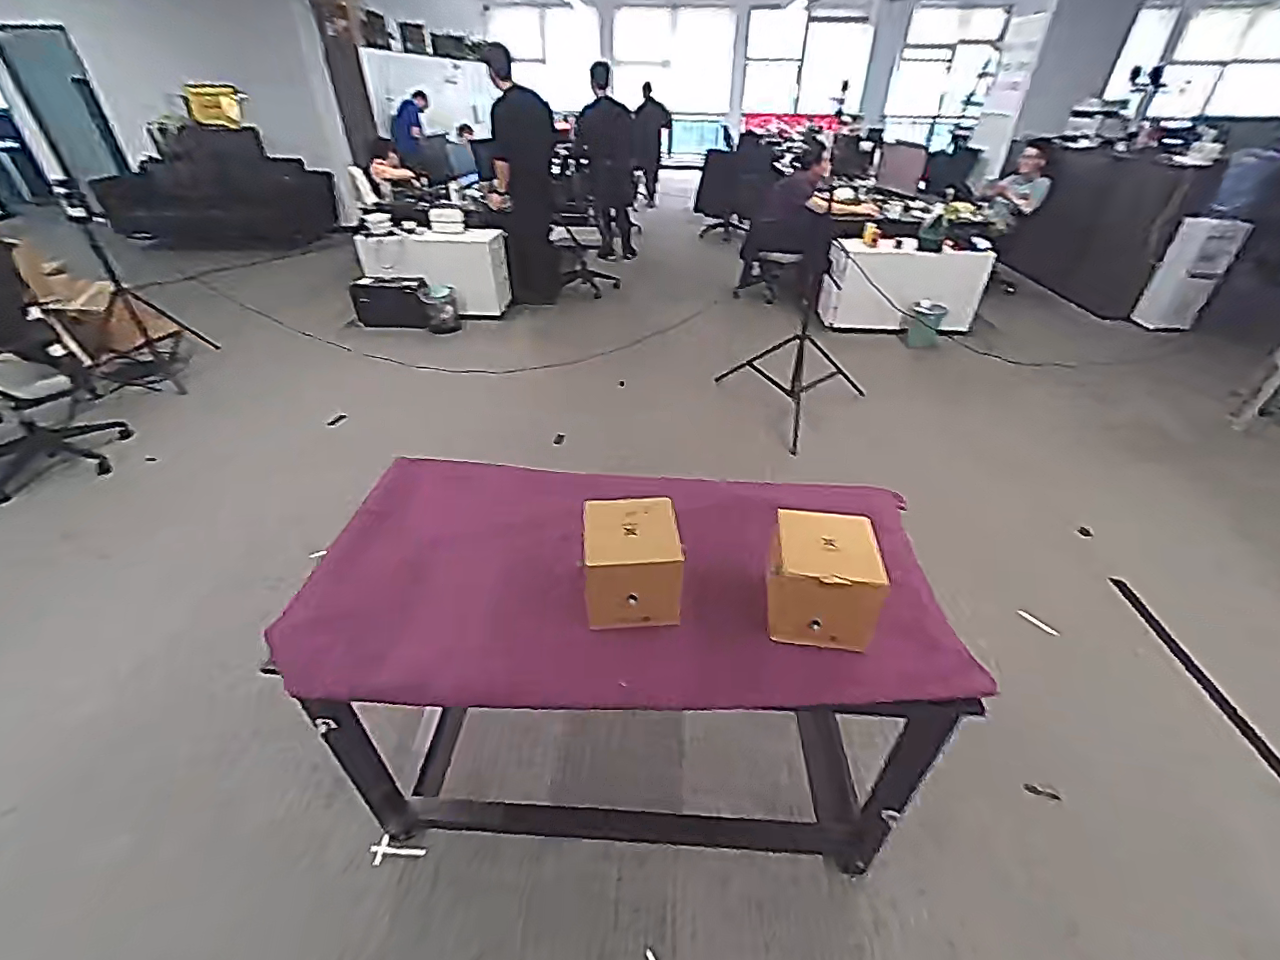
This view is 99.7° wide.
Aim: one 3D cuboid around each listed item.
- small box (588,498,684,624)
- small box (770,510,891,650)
[{"bbox_3d":[-0.011,0.156,1.015,0.168,0.176,0.179,-2,35,-4],"label":"small box"},{"bbox_3d":[0.332,0.178,0.984,0.168,0.176,0.179,5,35,7],"label":"small box"}]
